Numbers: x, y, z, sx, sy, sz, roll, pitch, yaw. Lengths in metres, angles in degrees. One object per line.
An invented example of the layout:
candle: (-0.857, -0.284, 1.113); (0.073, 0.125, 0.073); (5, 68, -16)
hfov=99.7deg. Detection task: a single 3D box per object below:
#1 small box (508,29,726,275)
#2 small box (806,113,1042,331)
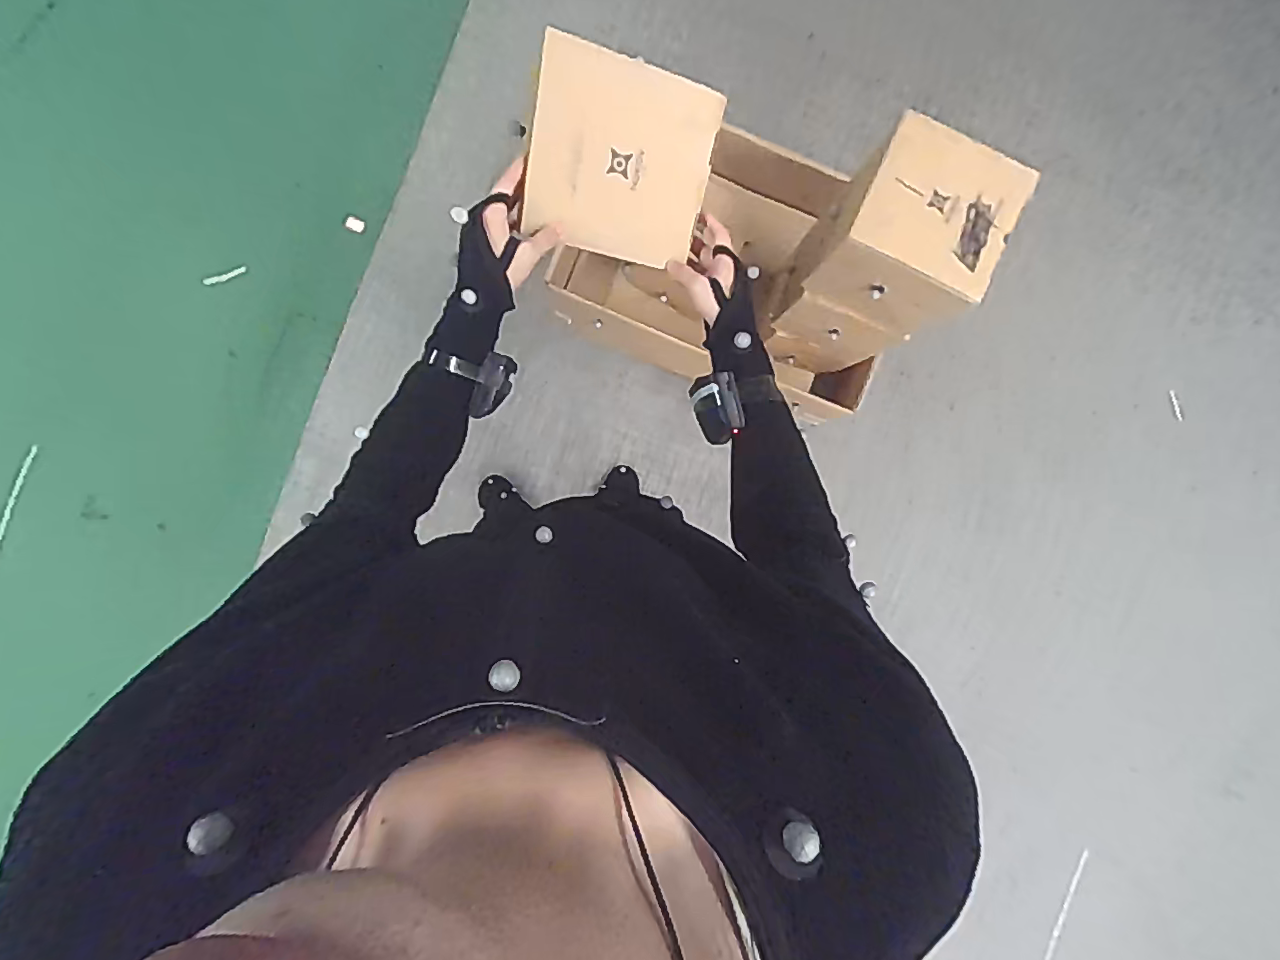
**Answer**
small box: (-0.038, -0.332, 0.579); (0.179, 0.176, 0.168); (6, 114, -20)
small box: (0.347, -0.311, 0.696); (0.179, 0.176, 0.168); (26, 90, -2)
